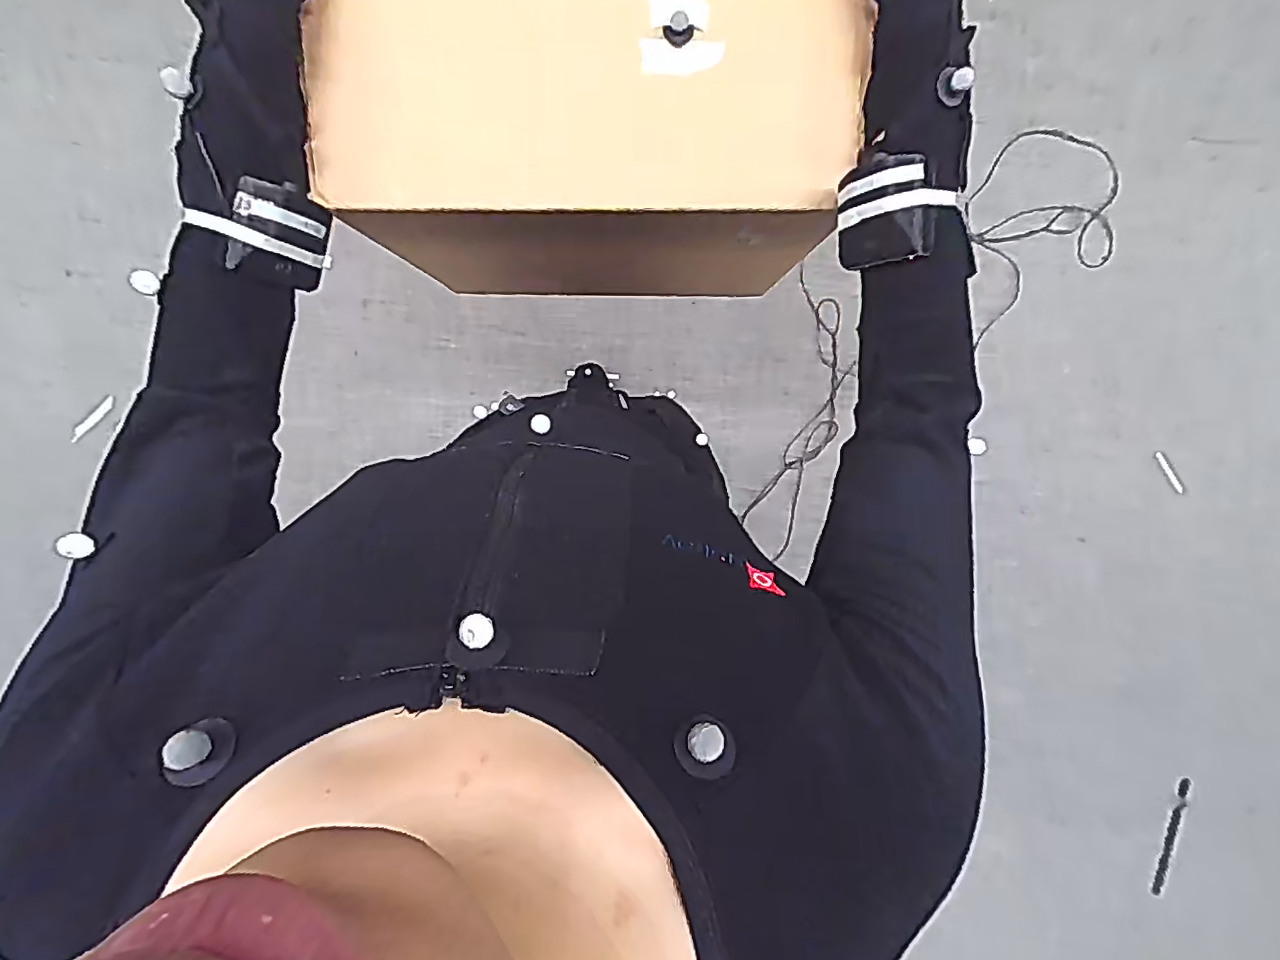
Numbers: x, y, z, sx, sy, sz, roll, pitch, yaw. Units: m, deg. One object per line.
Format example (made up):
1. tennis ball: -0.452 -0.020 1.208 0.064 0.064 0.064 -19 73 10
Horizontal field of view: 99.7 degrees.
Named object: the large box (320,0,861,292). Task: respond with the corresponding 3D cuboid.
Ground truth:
1. large box: -0.038 -0.383 0.542 0.408 0.320 0.320 0 98 -1
